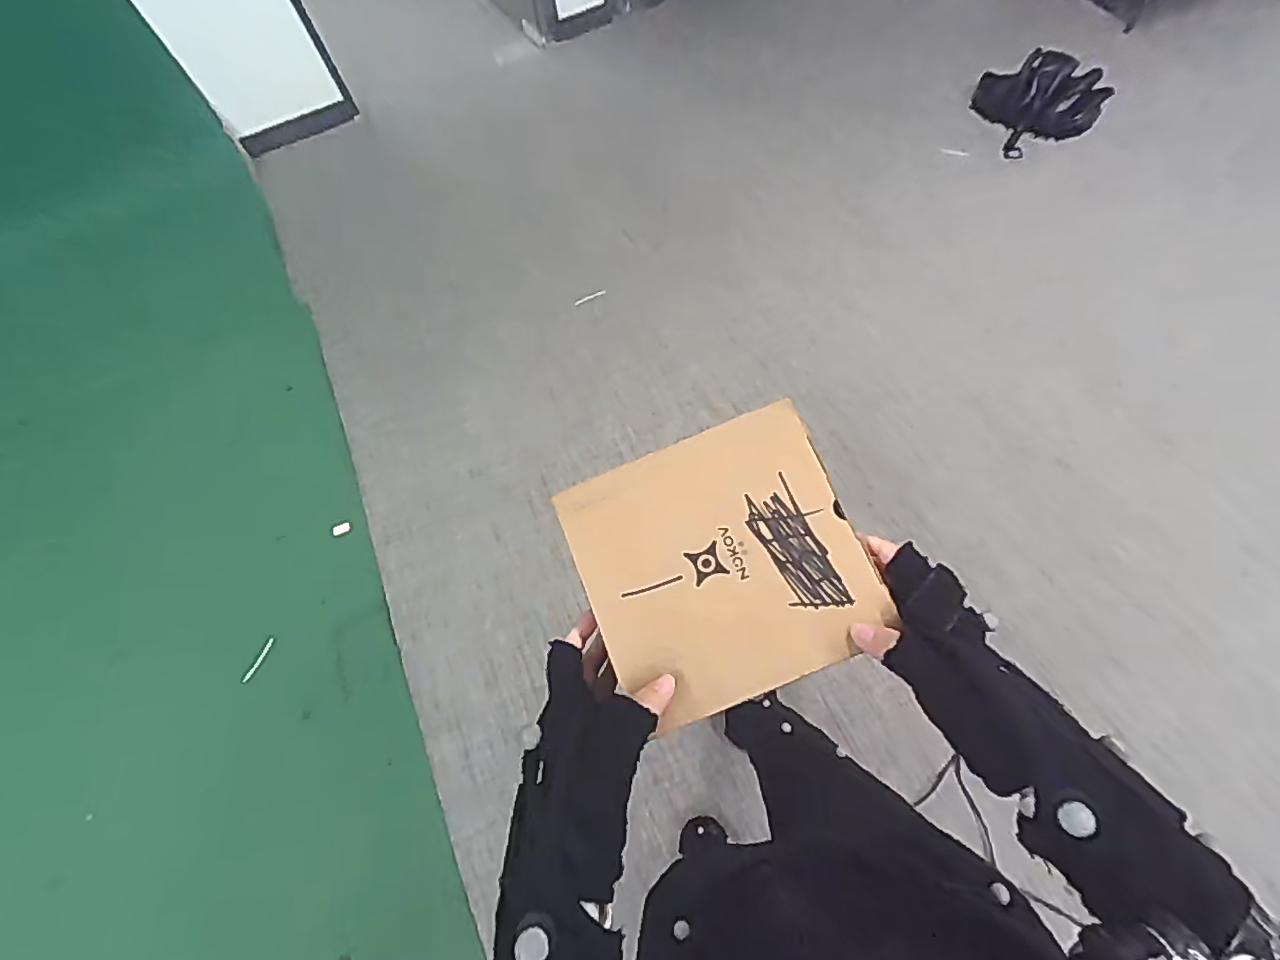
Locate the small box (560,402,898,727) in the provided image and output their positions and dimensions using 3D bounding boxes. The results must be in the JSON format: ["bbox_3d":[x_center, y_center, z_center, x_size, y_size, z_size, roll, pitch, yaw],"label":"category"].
[{"bbox_3d":[0.059,0.066,0.428,0.179,0.176,0.168,-22,76,0],"label":"small box"}]
